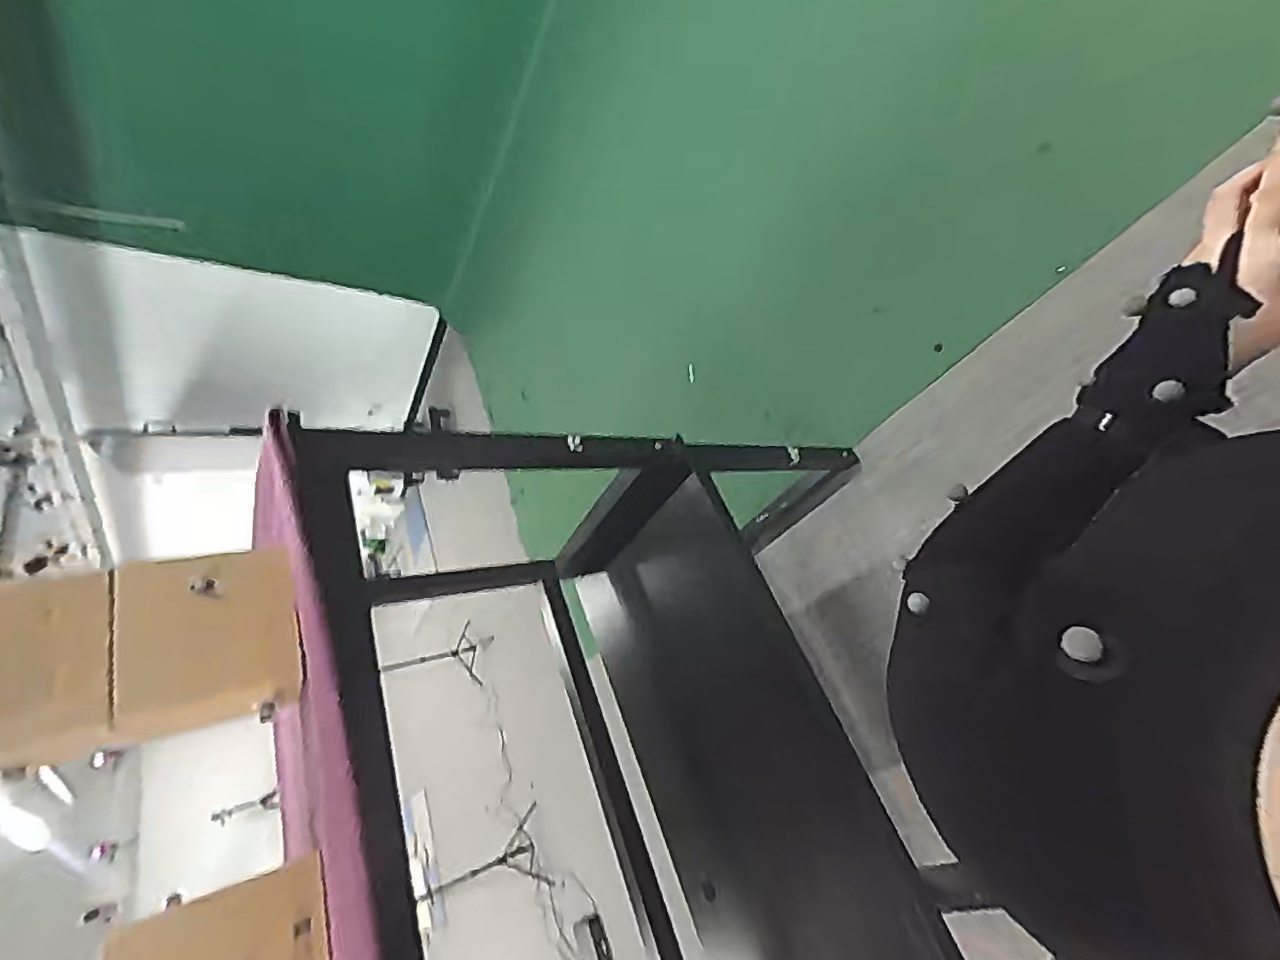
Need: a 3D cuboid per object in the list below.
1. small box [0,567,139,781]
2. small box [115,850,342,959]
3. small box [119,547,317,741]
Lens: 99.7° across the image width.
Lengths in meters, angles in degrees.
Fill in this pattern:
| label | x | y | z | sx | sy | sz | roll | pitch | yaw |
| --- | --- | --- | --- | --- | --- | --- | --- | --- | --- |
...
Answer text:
| label | x | y | z | sx | sy | sz | roll | pitch | yaw |
| --- | --- | --- | --- | --- | --- | --- | --- | --- | --- |
| small box | -0.645 | 0.210 | 0.575 | 0.168 | 0.176 | 0.179 | -42 | 61 | 48 |
| small box | -0.402 | 0.501 | 0.542 | 0.179 | 0.176 | 0.168 | -49 | 54 | 42 |
| small box | -0.513 | 0.193 | 0.668 | 0.168 | 0.176 | 0.179 | -46 | 59 | 46 |
